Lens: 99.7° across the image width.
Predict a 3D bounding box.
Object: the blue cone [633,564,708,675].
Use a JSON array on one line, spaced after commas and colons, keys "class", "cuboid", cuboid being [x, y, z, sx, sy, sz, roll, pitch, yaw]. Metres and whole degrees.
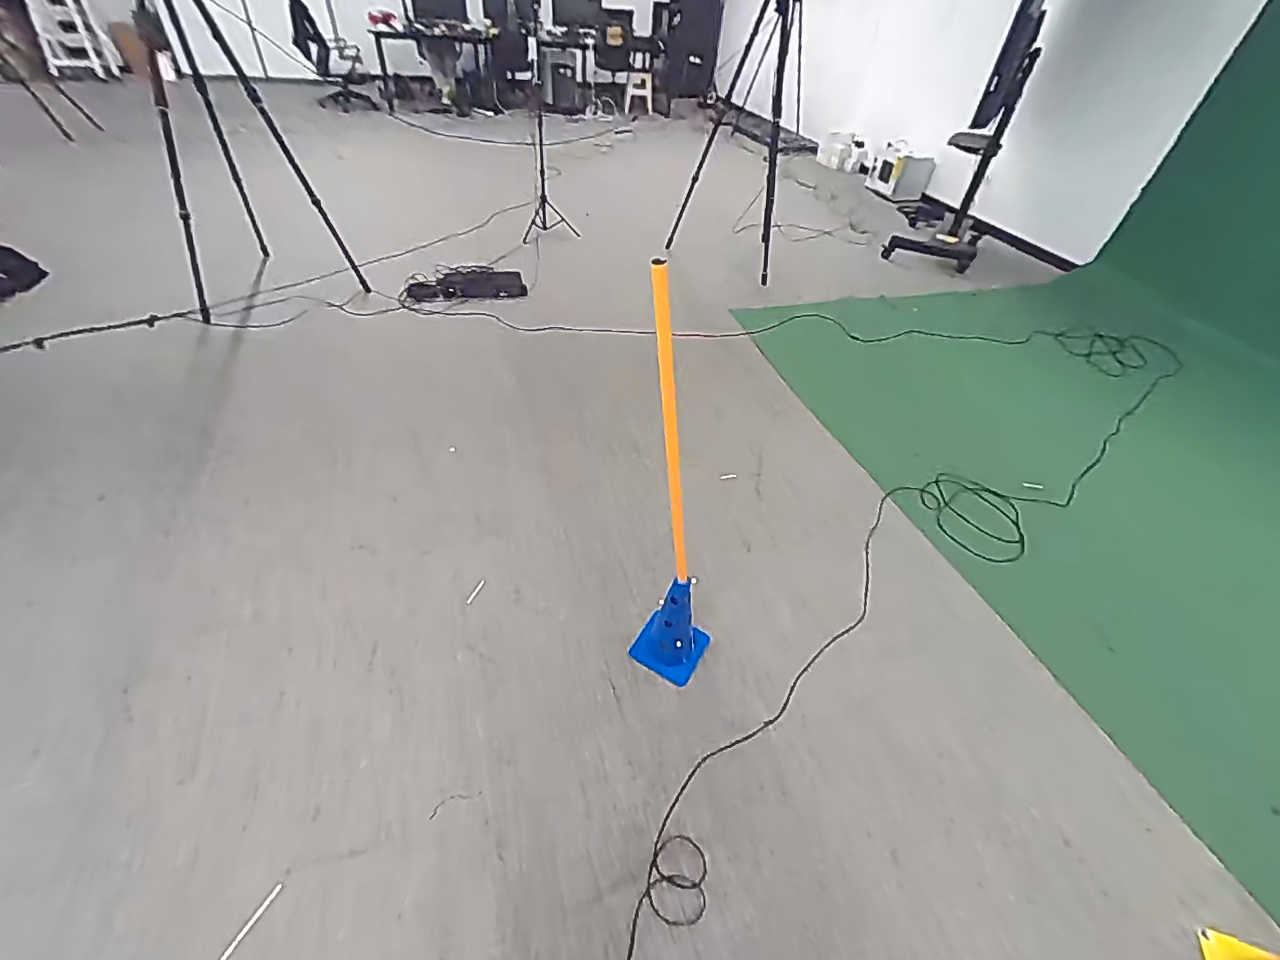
[{"class": "blue cone", "cuboid": [0.102, 0.372, 1.534, 0.193, 0.380, 0.192, 23, 47, 19]}]
